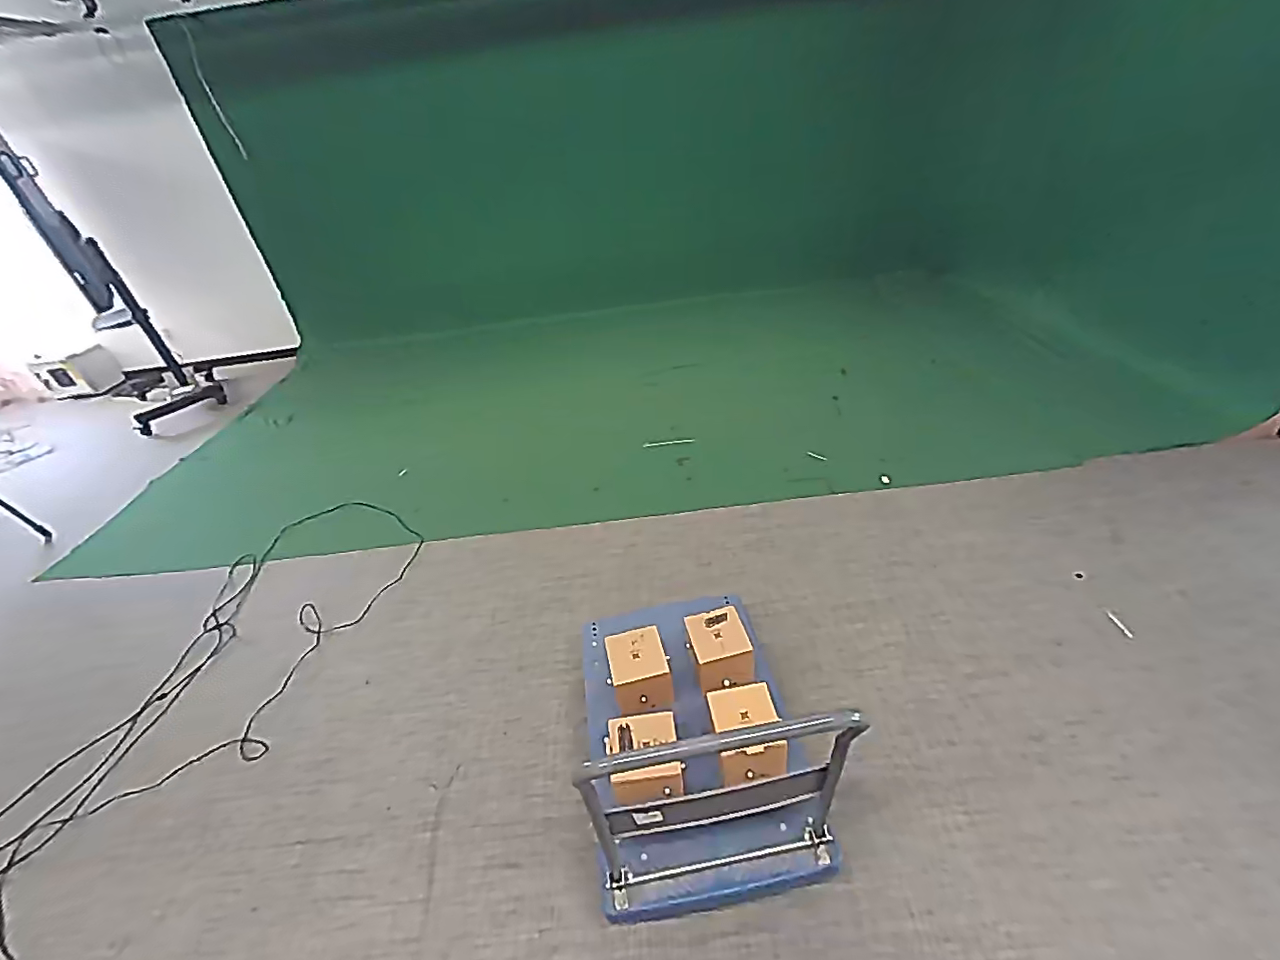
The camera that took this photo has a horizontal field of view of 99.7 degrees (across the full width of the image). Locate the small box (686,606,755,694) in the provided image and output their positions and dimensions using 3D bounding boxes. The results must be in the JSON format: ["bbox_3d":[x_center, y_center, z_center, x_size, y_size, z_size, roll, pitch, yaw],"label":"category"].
[{"bbox_3d":[0.244,0.523,1.661,0.168,0.176,0.179,-13,37,-5],"label":"small box"}]

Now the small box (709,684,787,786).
[{"bbox_3d":[0.282,0.679,1.443,0.168,0.176,0.179,-9,36,-2],"label":"small box"}]

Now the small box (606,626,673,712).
[{"bbox_3d":[-0.001,0.577,1.635,0.168,0.176,0.179,-11,36,-6],"label":"small box"}]
